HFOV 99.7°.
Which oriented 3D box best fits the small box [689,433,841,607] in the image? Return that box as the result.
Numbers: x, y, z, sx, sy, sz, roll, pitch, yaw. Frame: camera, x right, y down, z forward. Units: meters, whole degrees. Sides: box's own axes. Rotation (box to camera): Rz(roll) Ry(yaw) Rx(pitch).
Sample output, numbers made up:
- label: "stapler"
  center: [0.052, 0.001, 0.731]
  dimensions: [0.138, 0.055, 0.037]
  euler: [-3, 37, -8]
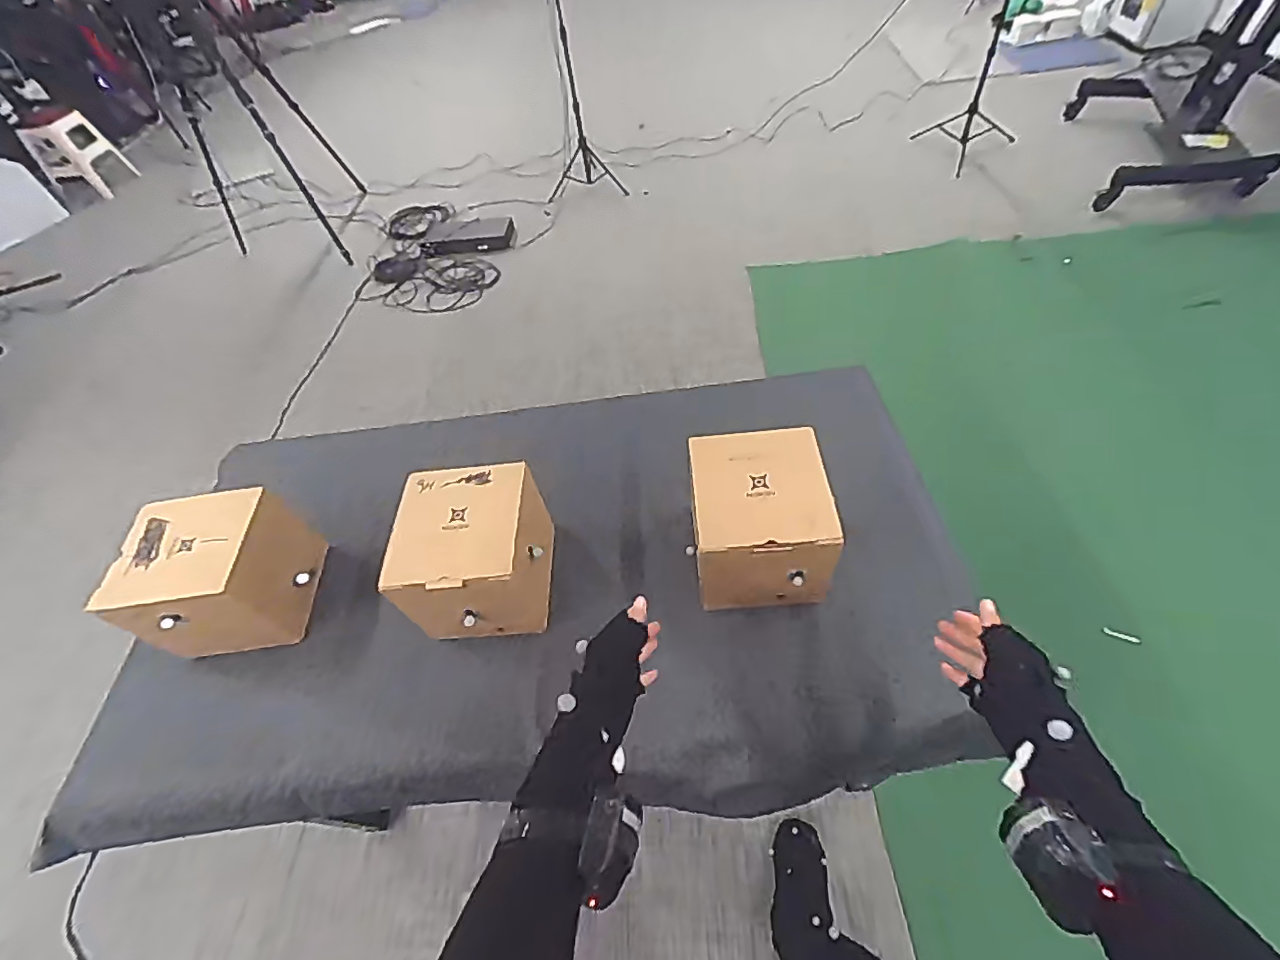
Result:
- label: "small box"
  center: [0.157, 0.061, 0.734]
  dimensions: [0.168, 0.176, 0.179]
  euler: [-5, 51, 3]

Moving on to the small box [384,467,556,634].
- label: "small box"
  center: [-0.219, 0.106, 0.752]
  dimensions: [0.168, 0.176, 0.179]
  euler: [-5, 53, 4]

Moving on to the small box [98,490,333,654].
- label: "small box"
  center: [-0.587, 0.137, 0.778]
  dimensions: [0.179, 0.176, 0.168]
  euler: [-8, 53, 0]
